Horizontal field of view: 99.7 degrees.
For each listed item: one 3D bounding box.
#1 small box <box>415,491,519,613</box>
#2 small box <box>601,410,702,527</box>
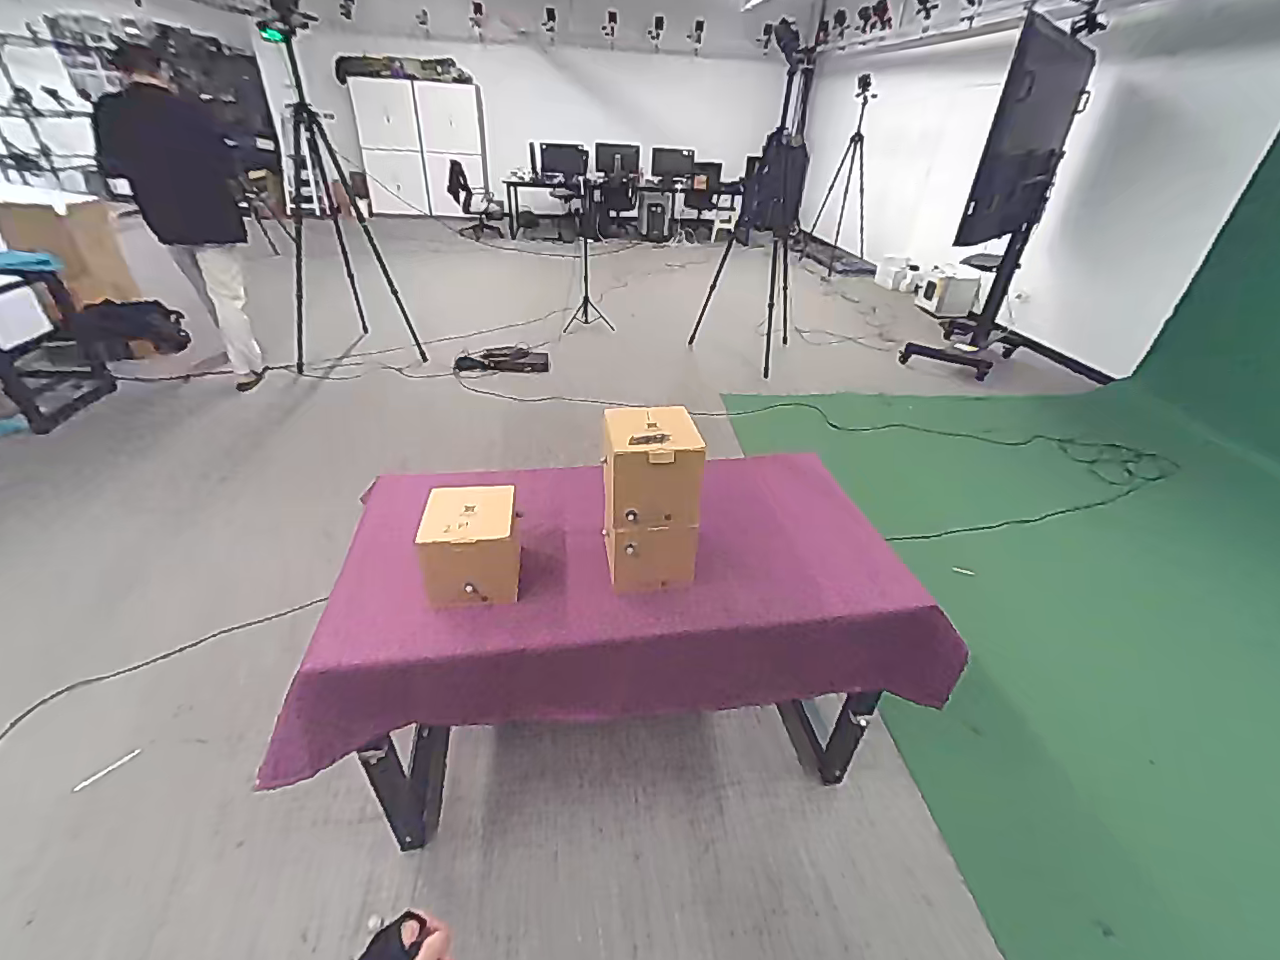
[{"bbox_3d":[-0.332,0.139,1.075,0.168,0.176,0.179,-3,33,-8],"label":"small box"},{"bbox_3d":[0.016,-0.020,1.045,0.168,0.176,0.179,-3,32,-9],"label":"small box"}]
